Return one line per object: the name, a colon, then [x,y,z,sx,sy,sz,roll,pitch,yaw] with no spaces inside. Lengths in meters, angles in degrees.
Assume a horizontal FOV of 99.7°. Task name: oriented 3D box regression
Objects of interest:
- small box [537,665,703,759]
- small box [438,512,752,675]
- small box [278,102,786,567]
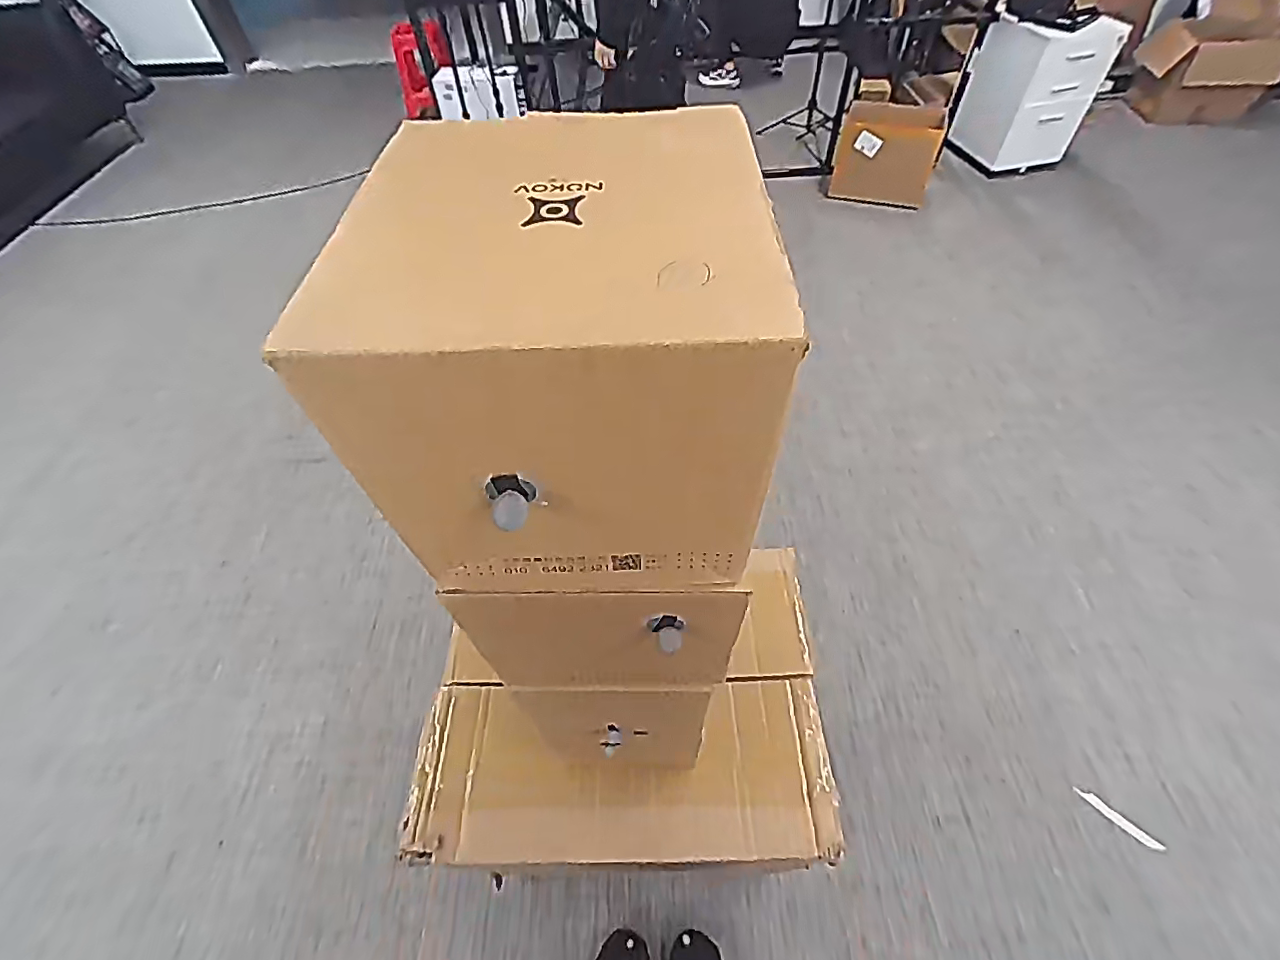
small box: [-0.016,0.239,0.668,0.179,0.176,0.168,0,53,2]
small box: [-0.022,0.038,0.407,0.179,0.176,0.168,-1,53,2]
small box: [-0.032,-0.064,0.281,0.168,0.176,0.179,-2,53,1]
